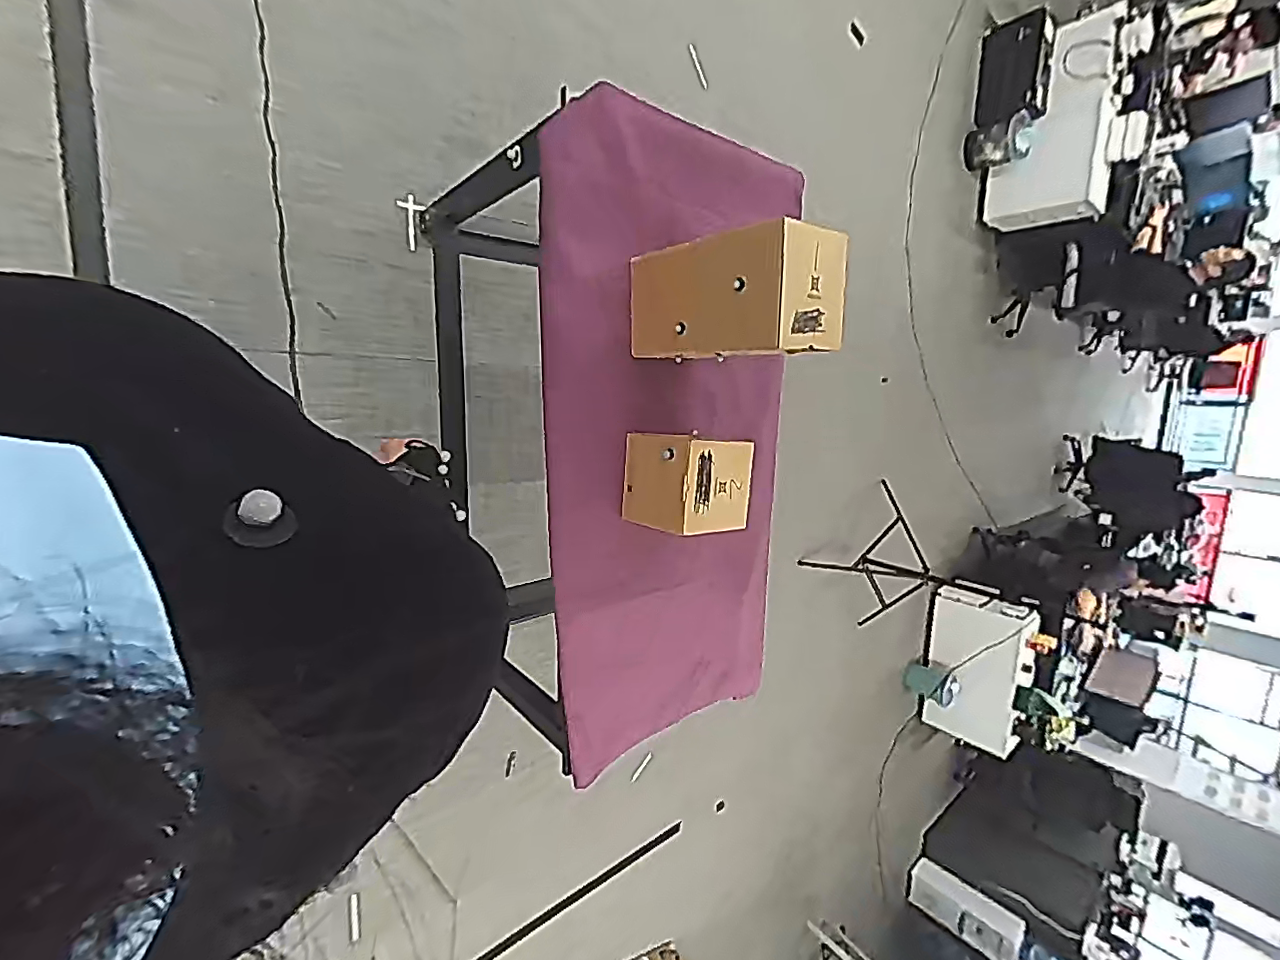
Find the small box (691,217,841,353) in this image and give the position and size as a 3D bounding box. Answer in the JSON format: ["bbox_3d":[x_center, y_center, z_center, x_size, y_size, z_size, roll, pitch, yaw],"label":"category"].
[{"bbox_3d":[0.193,-0.292,0.854,0.168,0.176,0.179,-10,105,-40],"label":"small box"}]

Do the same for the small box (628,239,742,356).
[{"bbox_3d":[0.090,-0.318,0.979,0.168,0.176,0.179,-10,105,-40],"label":"small box"}]
